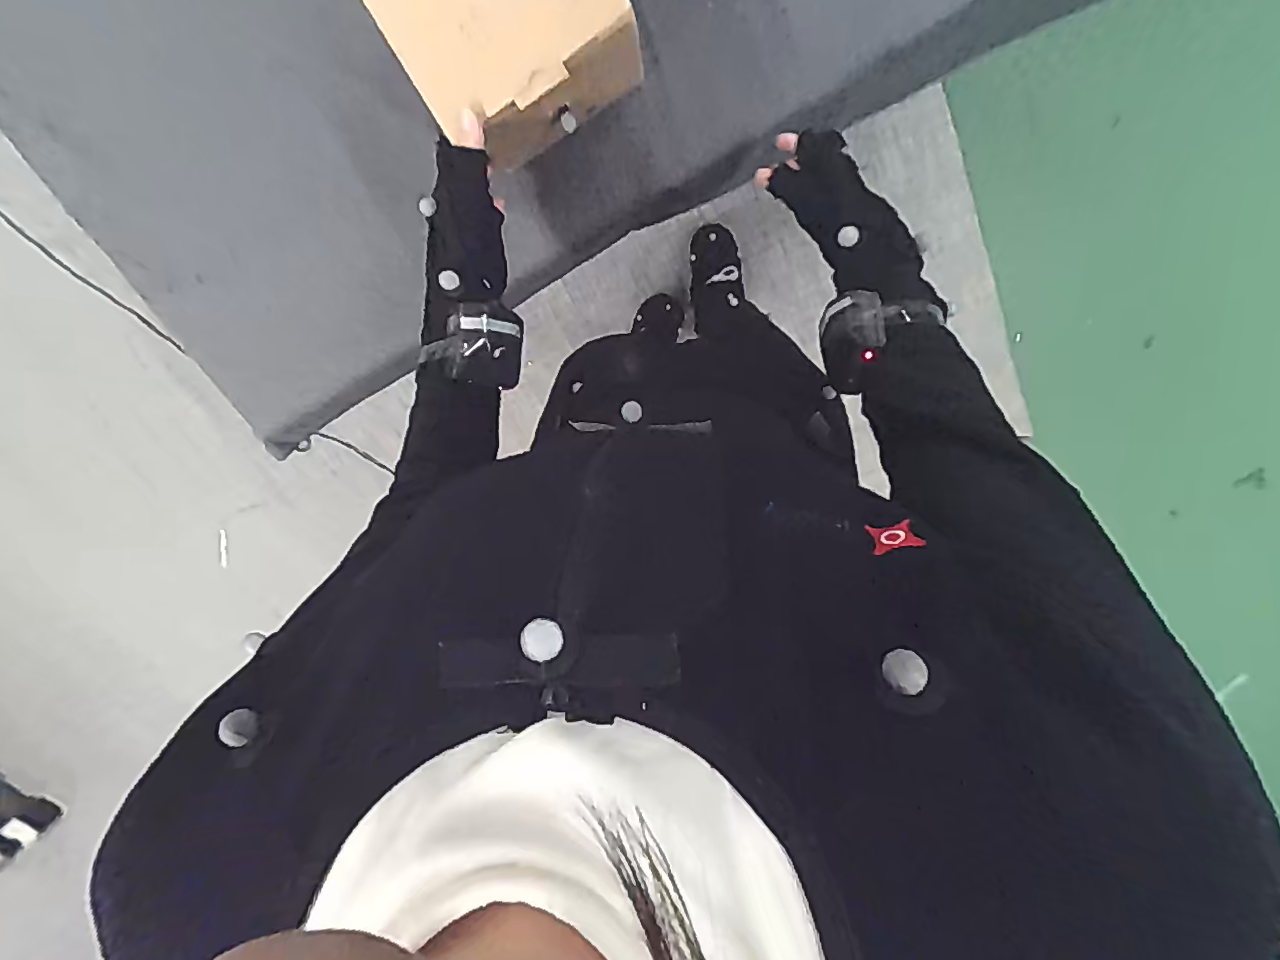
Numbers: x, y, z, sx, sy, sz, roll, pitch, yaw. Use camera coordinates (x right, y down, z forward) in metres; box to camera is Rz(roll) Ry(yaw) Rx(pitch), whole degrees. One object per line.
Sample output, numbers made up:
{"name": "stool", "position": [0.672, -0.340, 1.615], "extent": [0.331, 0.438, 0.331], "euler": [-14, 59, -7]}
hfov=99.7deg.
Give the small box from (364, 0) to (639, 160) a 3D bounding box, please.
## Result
{"name": "small box", "position": [-0.110, -0.393, 0.448], "extent": [0.168, 0.176, 0.179], "euler": [-27, 111, 14]}
